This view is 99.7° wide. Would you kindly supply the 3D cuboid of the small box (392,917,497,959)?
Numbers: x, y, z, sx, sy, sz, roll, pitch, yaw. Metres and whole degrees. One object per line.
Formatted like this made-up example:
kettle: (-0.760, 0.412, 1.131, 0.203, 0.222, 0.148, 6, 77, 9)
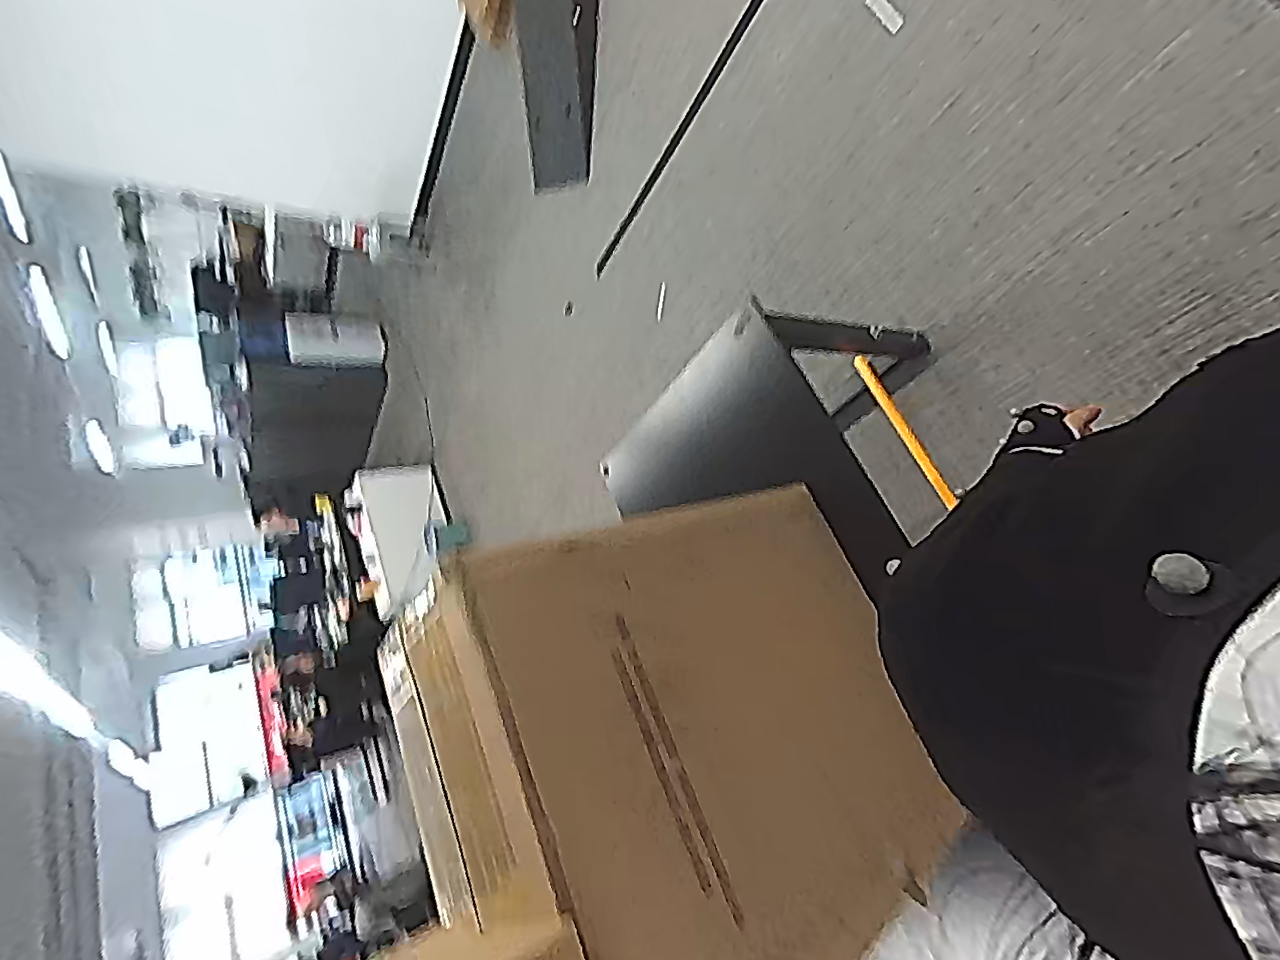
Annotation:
small box: (-0.199, 0.564, 0.519, 0.179, 0.176, 0.168, -42, 63, 47)
